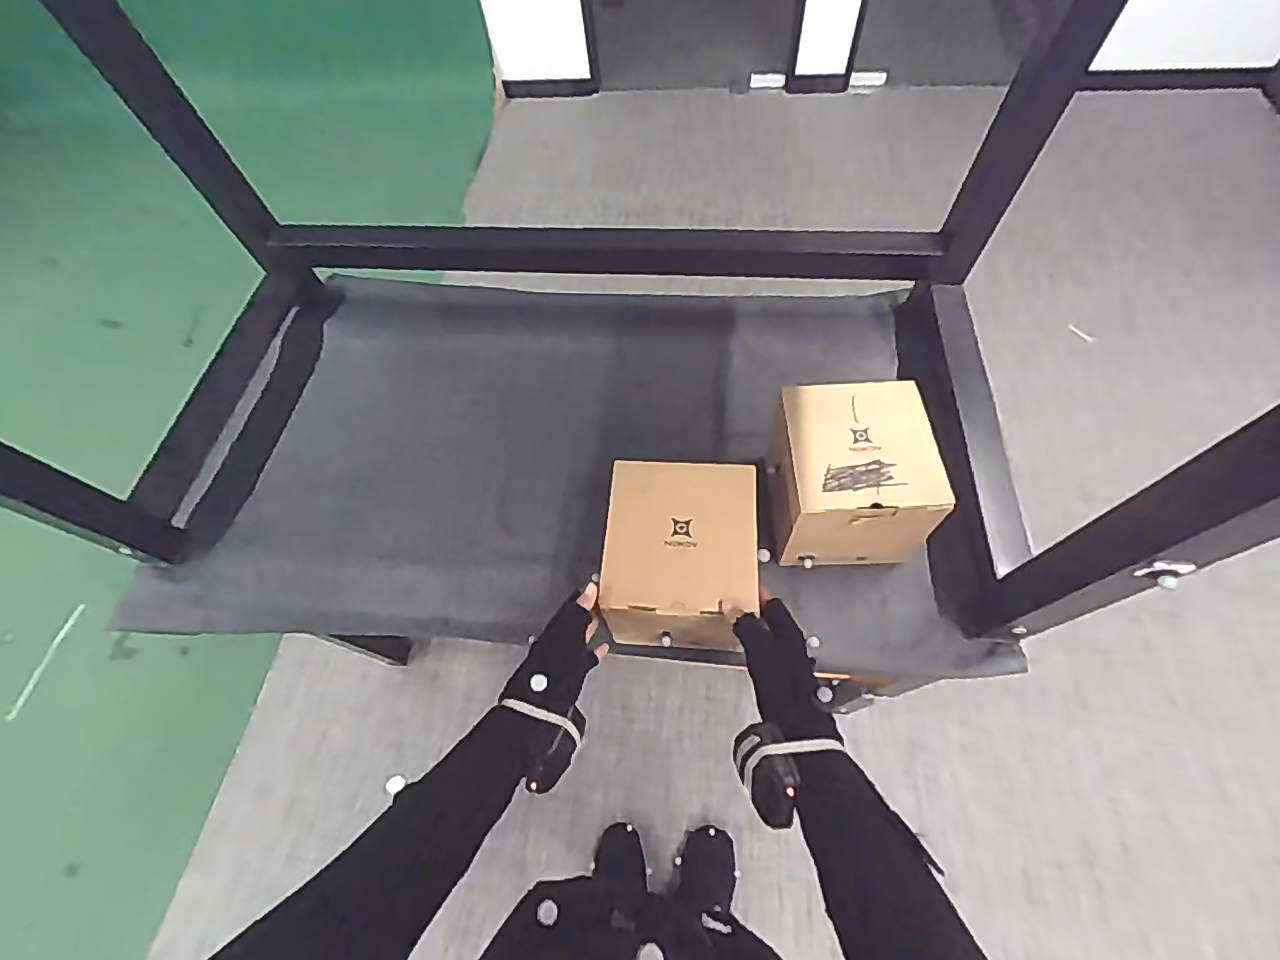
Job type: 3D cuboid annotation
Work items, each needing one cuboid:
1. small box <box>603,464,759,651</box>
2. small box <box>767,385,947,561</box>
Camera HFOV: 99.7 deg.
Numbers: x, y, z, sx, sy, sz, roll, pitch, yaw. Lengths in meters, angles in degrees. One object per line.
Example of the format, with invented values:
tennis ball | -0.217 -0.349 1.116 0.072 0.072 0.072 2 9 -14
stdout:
small box | 0.055 0.100 0.671 0.168 0.176 0.179 2 61 7
small box | 0.263 0.000 0.705 0.168 0.176 0.179 -2 59 4
